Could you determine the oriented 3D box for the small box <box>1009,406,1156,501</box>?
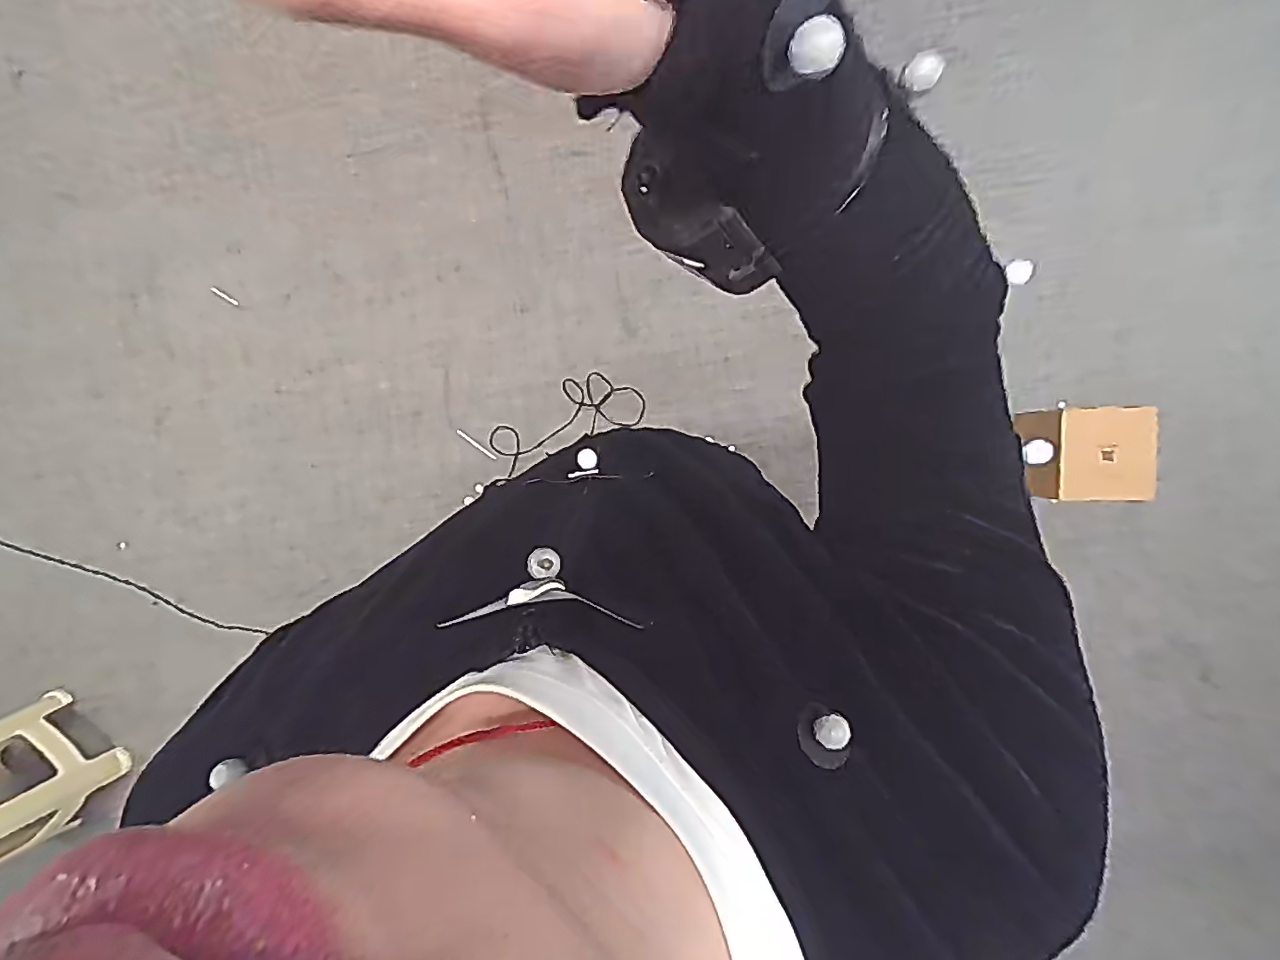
[{"bbox_3d":[0.872,-0.054,1.082,0.168,0.176,0.179,-1,95,6],"label":"small box"}]
